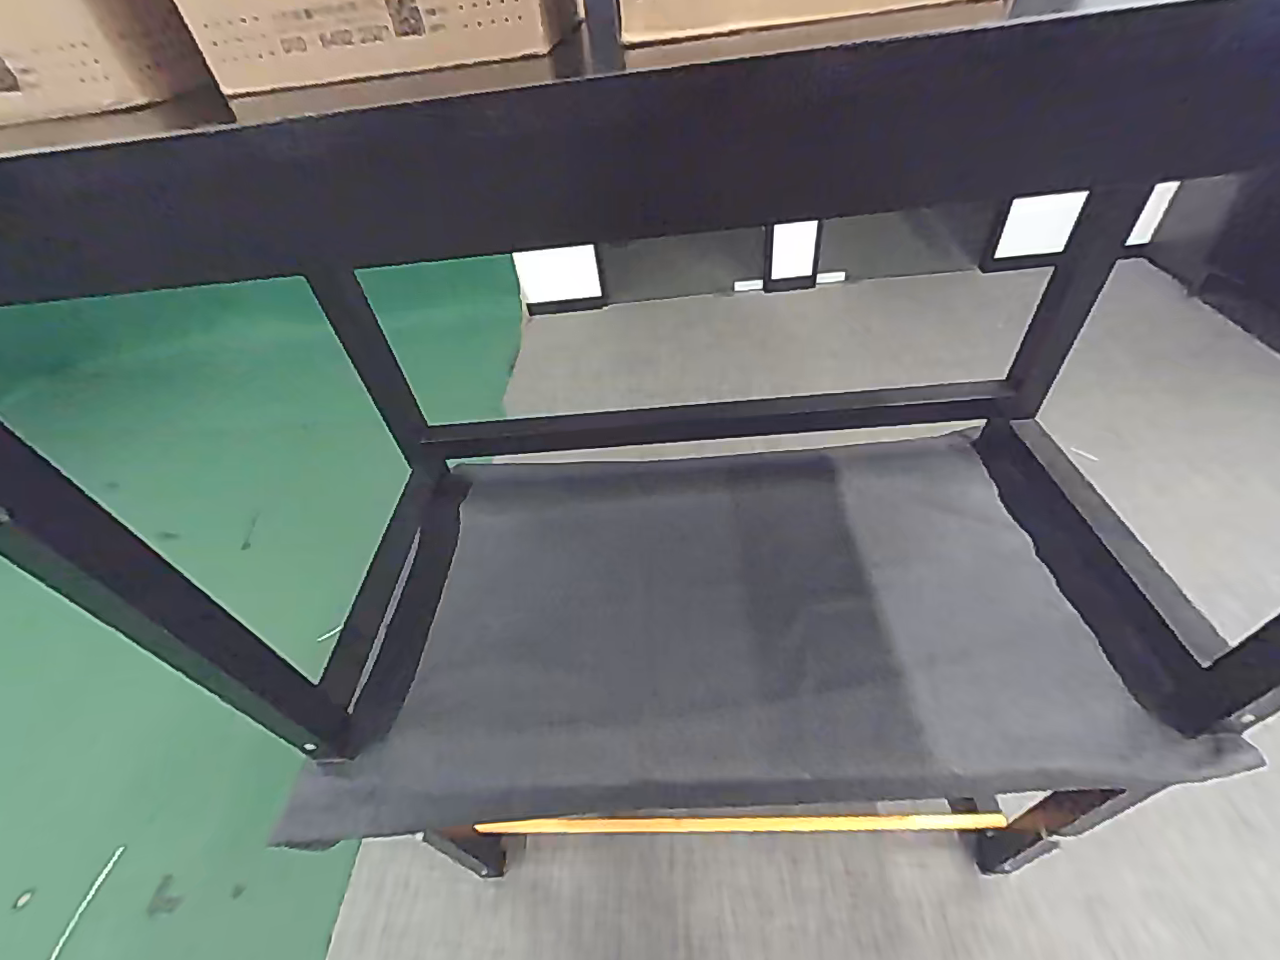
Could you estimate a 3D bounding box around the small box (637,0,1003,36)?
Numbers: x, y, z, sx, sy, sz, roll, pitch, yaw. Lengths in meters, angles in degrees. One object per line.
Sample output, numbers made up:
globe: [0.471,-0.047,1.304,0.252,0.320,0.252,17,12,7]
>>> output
small box: [0.075,-0.312,0.234,0.168,0.176,0.179,-3,45,6]
